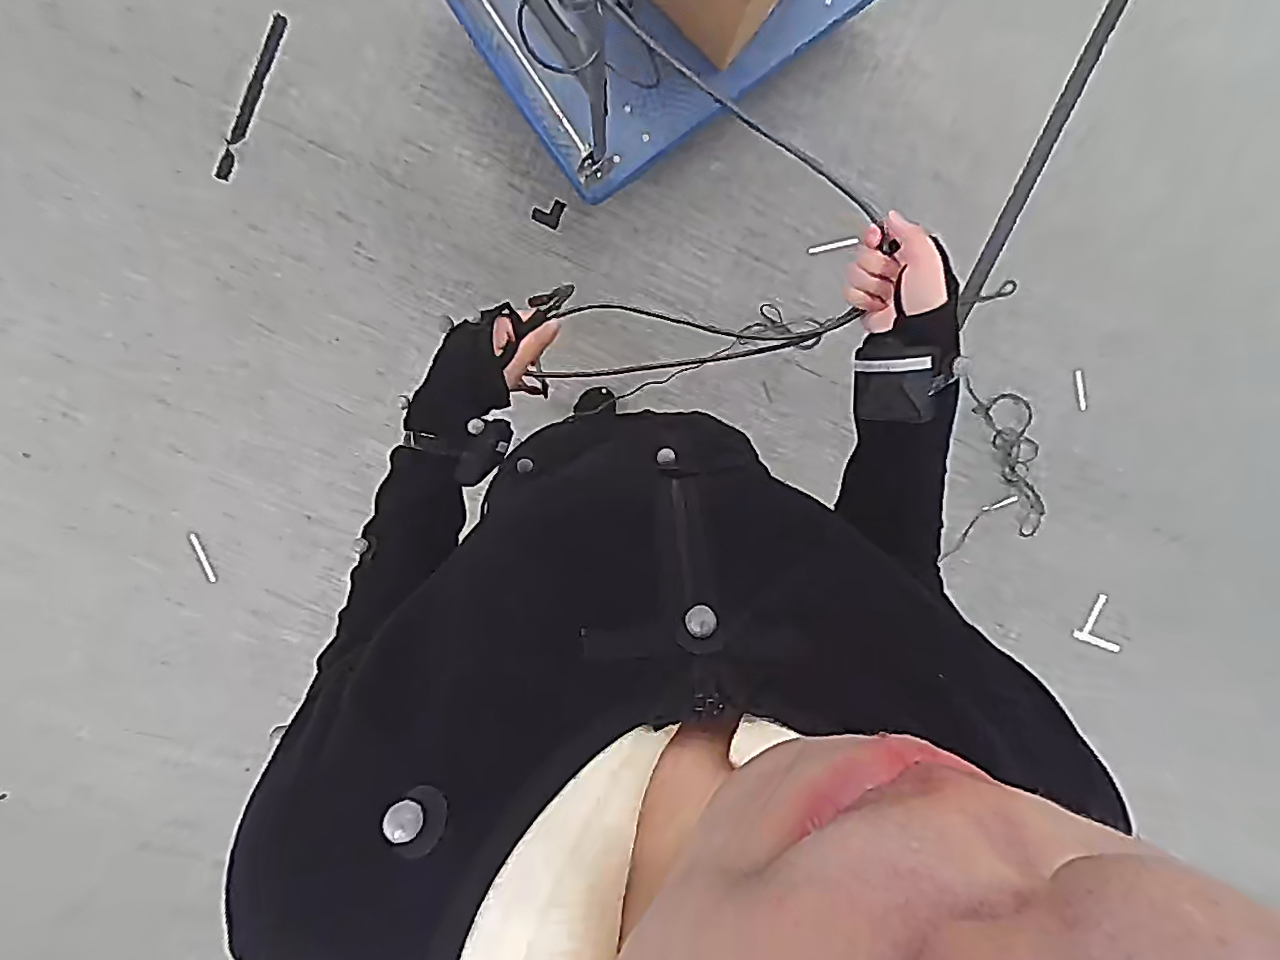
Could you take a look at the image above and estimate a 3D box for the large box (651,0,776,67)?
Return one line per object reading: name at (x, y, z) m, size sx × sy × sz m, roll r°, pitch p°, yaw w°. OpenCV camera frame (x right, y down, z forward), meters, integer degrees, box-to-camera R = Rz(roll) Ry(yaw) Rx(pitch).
large box at (0.134, -1.113, 0.999) m, size 0.408 × 0.320 × 0.320 m, roll 39°, pitch 95°, yaw -10°
